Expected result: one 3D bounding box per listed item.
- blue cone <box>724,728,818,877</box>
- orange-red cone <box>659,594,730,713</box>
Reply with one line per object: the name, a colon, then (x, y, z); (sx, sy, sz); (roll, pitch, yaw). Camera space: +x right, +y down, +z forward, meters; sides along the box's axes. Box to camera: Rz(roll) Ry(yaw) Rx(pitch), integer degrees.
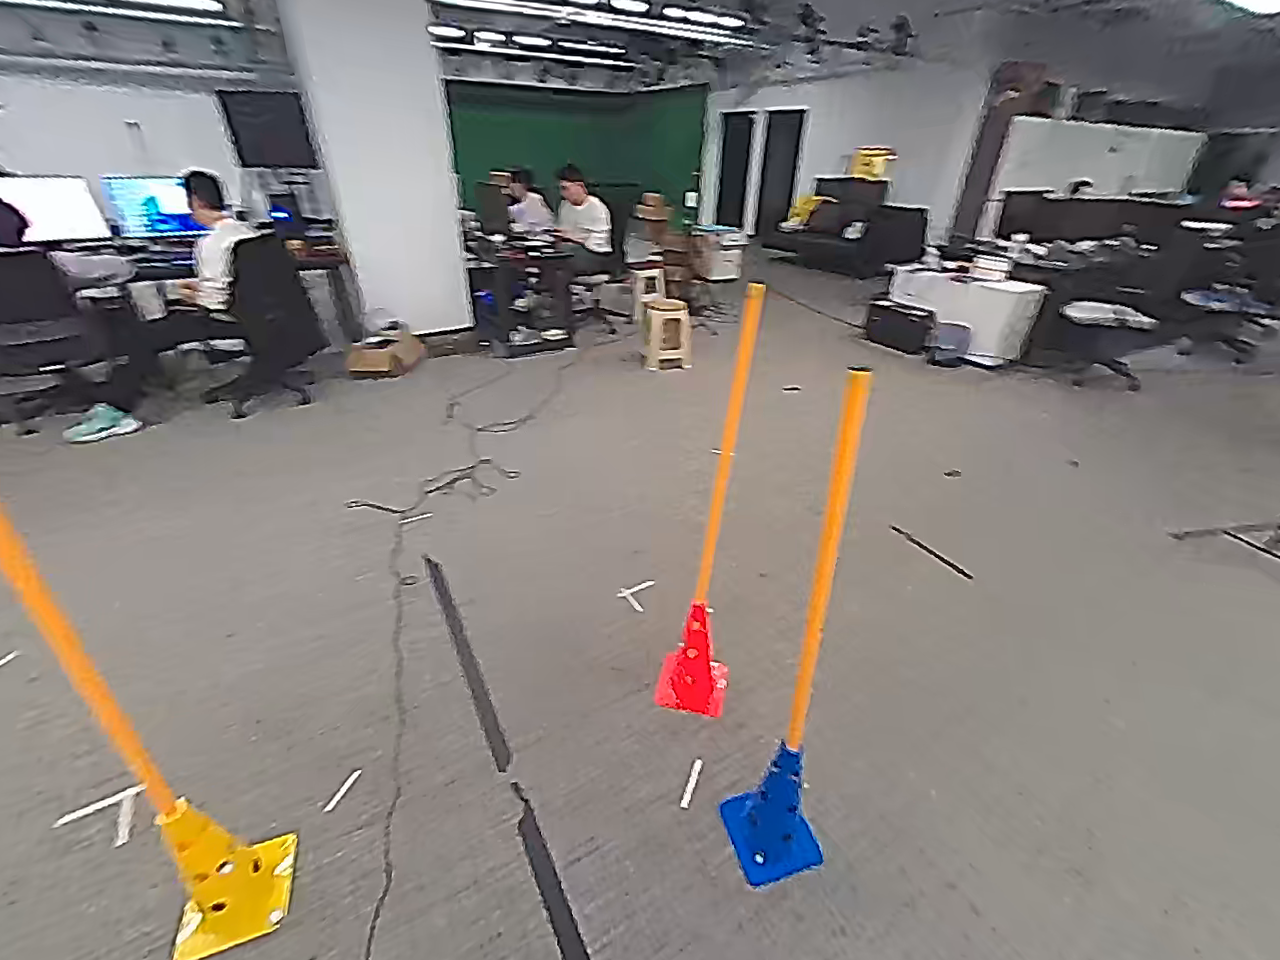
blue cone: (0.320, 0.709, 1.237); (0.193, 0.380, 0.192); (-7, 31, -13)
orange-red cone: (0.172, 0.480, 1.587); (0.198, 0.360, 0.199); (8, 33, 13)
